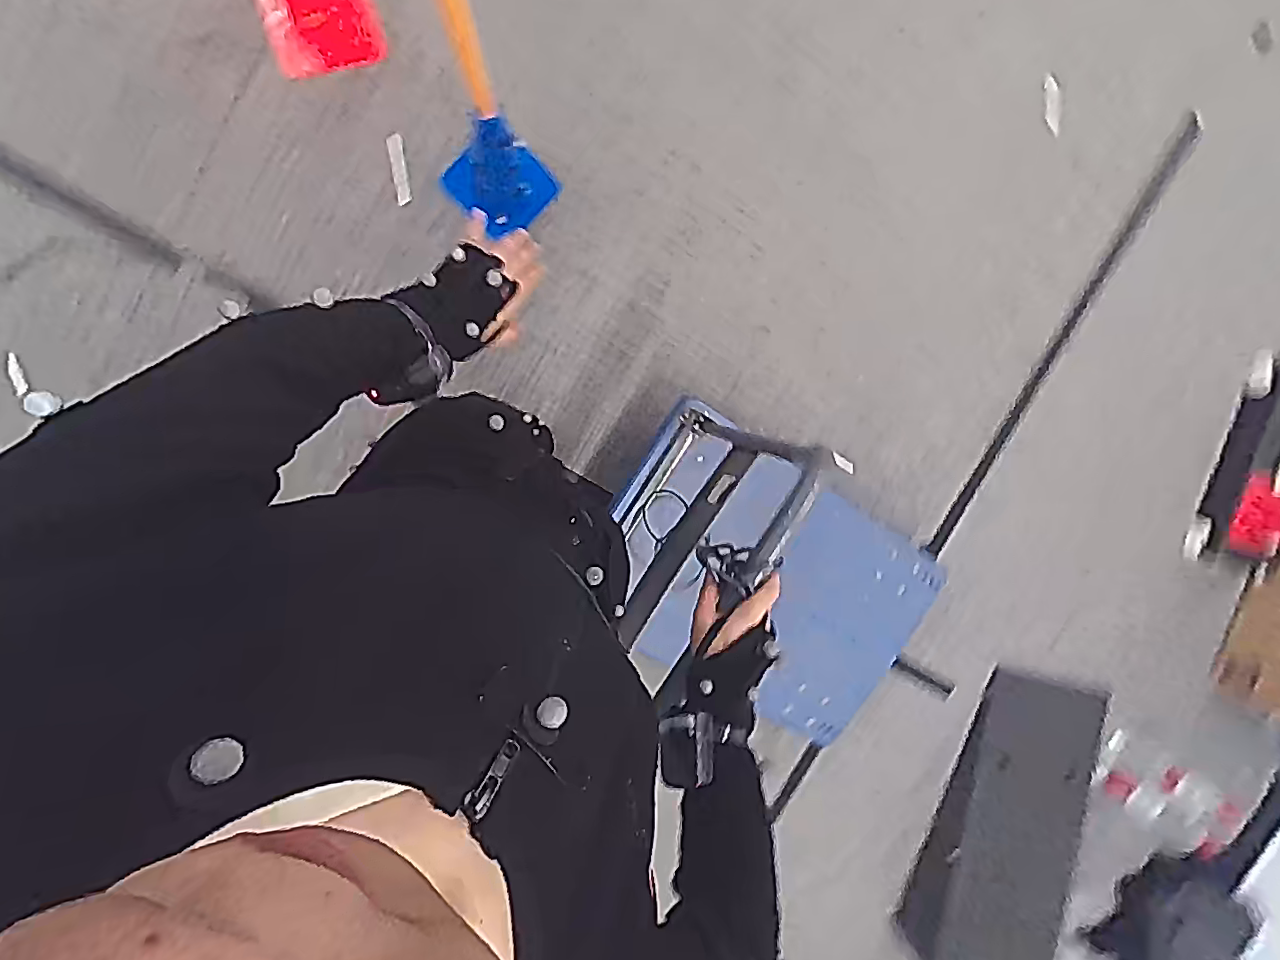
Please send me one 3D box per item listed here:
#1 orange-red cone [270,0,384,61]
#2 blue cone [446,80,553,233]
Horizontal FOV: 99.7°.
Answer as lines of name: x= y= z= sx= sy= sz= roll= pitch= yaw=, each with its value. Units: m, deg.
orange-red cone: x=-0.603 y=-0.923 z=0.915 sx=0.198 sy=0.360 sz=0.199 roll=-15 pitch=104 yaw=-7
blue cone: x=-0.282 y=-0.645 z=1.043 sx=0.193 sy=0.380 sz=0.192 roll=-44 pitch=104 yaw=0
